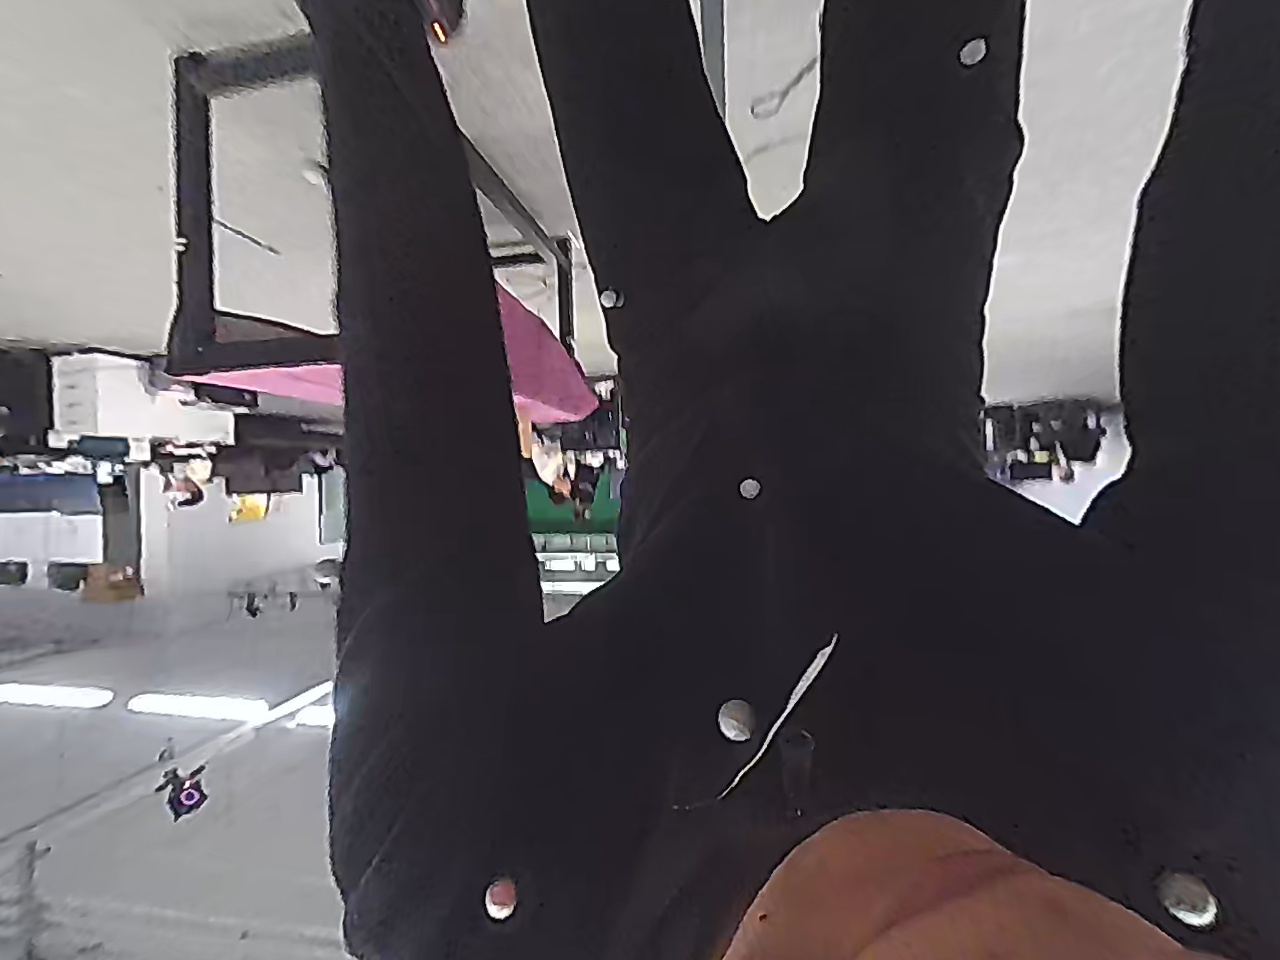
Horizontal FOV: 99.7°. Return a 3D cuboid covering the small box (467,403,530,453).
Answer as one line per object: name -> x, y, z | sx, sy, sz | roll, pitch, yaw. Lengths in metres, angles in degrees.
small box -> -0.527, -0.190, 2.022 | 0.179, 0.176, 0.168 | -2, -179, 24
